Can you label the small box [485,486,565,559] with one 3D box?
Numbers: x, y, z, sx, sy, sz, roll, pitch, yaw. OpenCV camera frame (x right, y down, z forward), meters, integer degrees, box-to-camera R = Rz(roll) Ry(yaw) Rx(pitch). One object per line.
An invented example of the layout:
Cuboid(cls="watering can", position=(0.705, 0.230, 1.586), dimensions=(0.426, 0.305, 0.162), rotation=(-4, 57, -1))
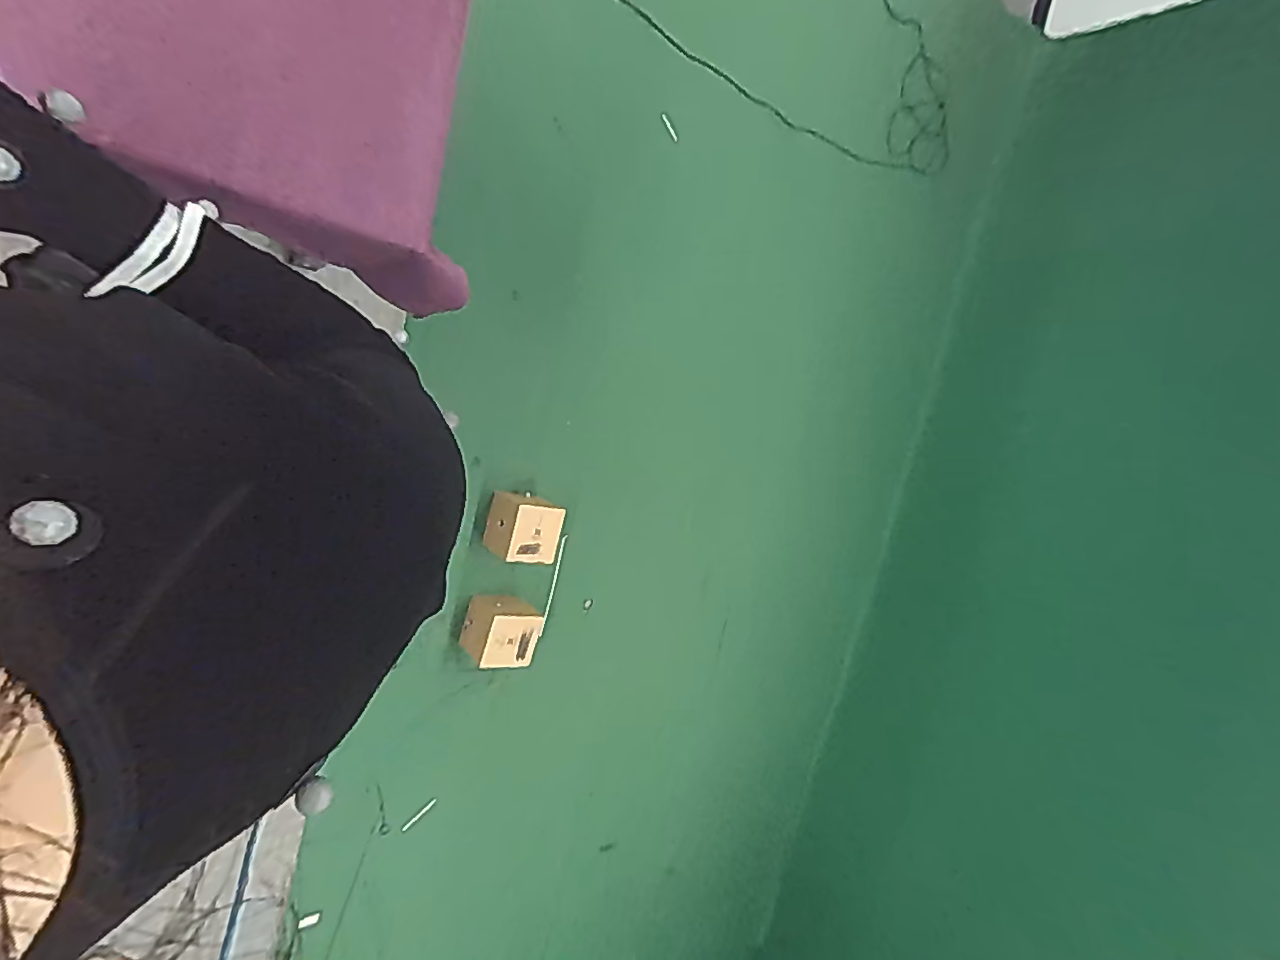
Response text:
Cuboid(cls="small box", position=(-0.360, 0.130, 1.671), dimensions=(0.168, 0.176, 0.179), rotation=(11, 95, -42))
